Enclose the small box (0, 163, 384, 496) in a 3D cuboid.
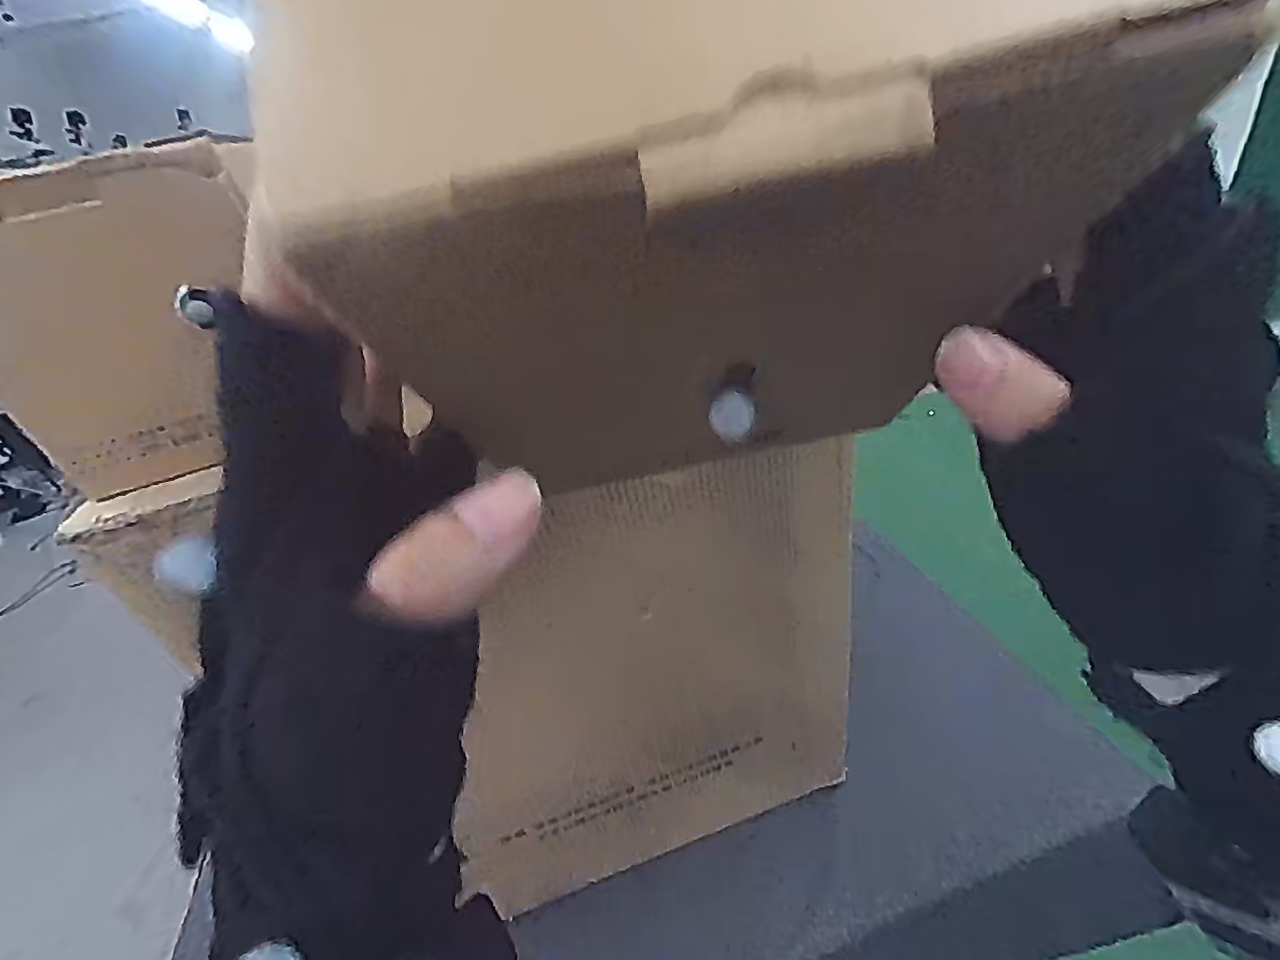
[{"bbox_3d":[-0.297,-0.106,0.377,0.168,0.176,0.179,-19,33,-11],"label":"small box"}]
